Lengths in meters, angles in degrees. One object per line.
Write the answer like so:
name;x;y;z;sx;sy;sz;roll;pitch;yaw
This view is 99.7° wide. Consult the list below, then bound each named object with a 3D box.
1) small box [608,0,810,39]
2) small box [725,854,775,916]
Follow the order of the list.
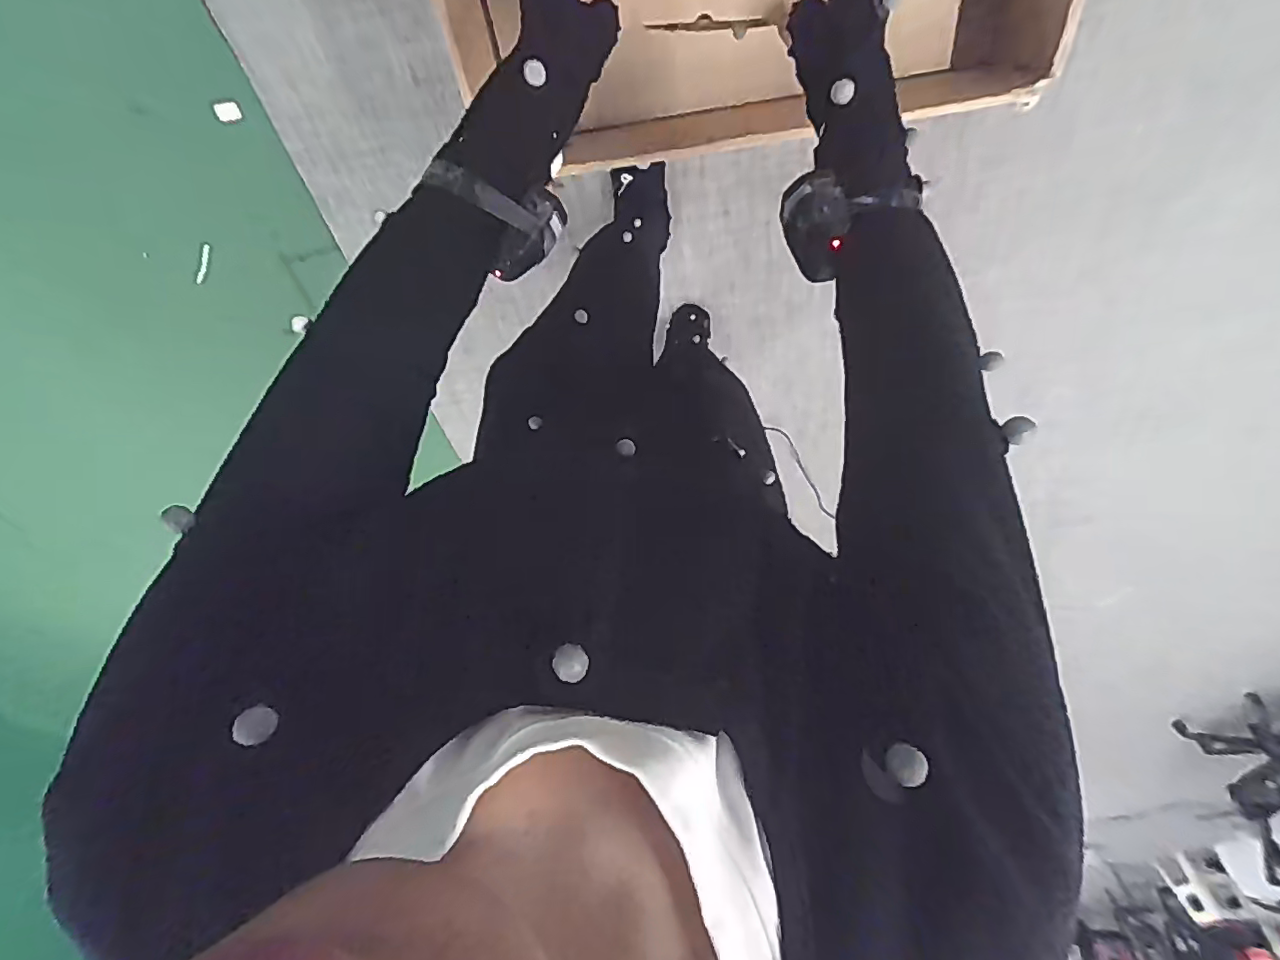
small box;0.056;-0.488;0.446;0.168;0.176;0.179;-1;133;3
small box;0.424;1.567;2.093;0.168;0.176;0.179;-8;133;10
